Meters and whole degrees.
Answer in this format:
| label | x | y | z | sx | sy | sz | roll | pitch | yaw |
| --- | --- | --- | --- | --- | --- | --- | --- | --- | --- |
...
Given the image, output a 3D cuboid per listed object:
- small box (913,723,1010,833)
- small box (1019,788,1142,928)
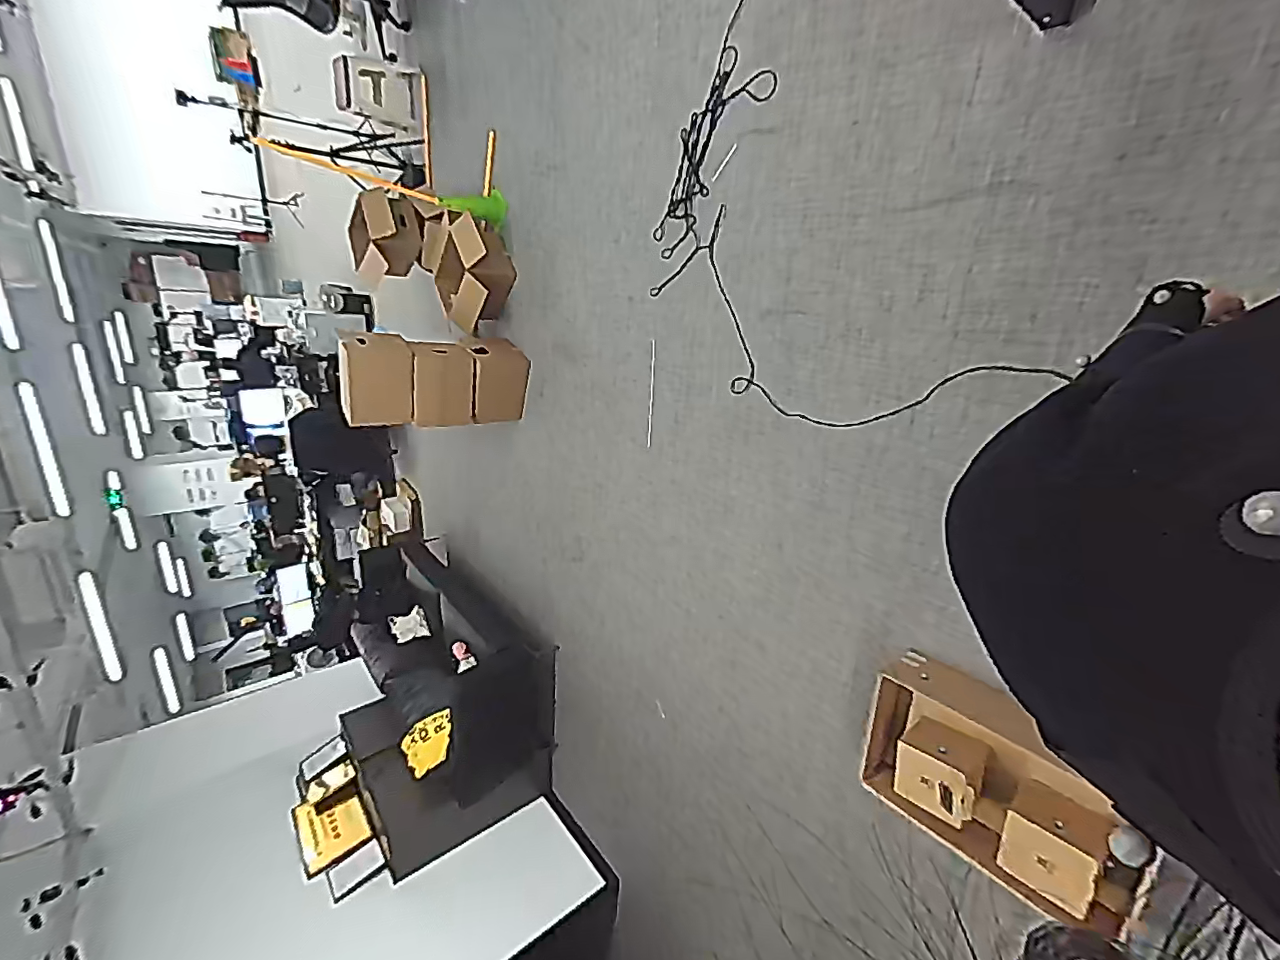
| label | x | y | z | sx | sy | sz | roll | pitch | yaw |
| --- | --- | --- | --- | --- | --- | --- | --- | --- | --- |
| small box | 0.872 | 0.792 | 1.463 | 0.179 | 0.176 | 0.168 | 13 | 109 | 51 |
| small box | 1.032 | 0.869 | 1.266 | 0.179 | 0.176 | 0.168 | 19 | 112 | 51 |
